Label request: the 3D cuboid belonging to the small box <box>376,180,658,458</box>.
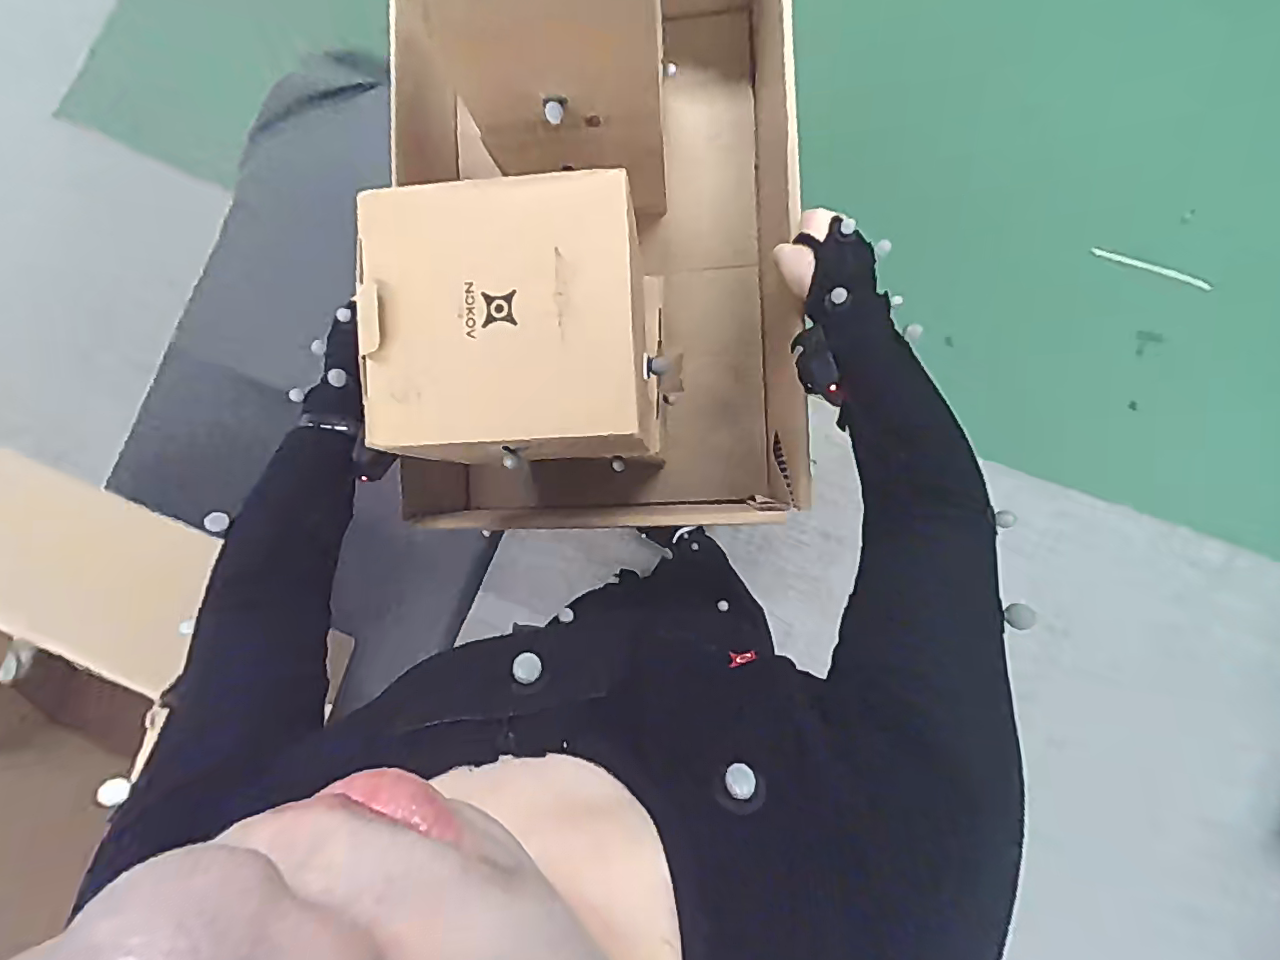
[{"bbox_3d":[-0.078,-0.104,0.424,0.179,0.176,0.168,-2,90,3],"label":"small box"}]
